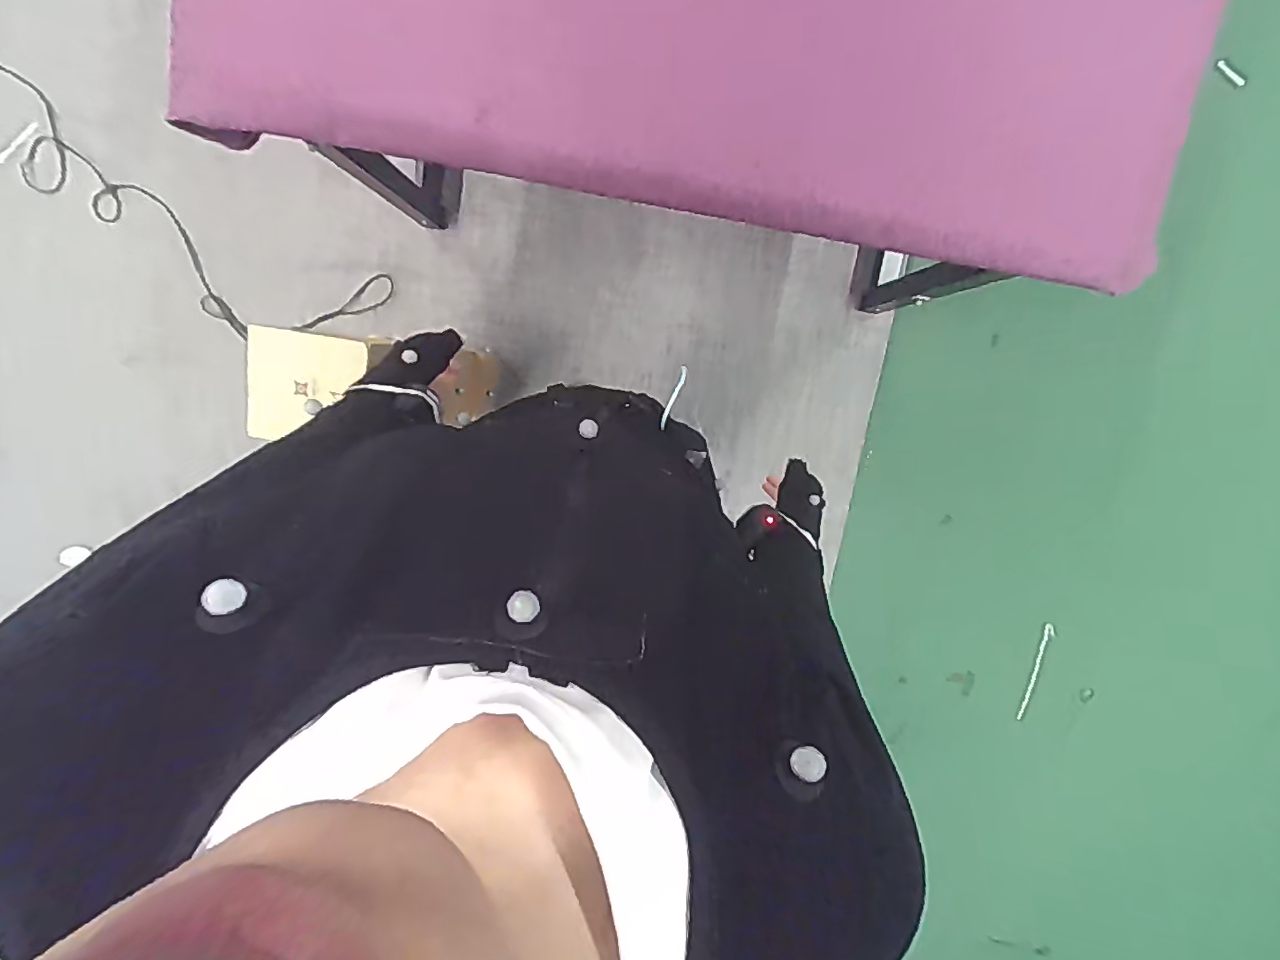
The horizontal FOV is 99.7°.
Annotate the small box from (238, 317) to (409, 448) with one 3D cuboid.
[{"bbox_3d":[-0.496,-0.156,0.864,0.179,0.176,0.168,9,103,-3],"label":"small box"}]

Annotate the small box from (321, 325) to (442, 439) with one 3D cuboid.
[{"bbox_3d":[-0.487,-0.187,1.026,0.168,0.176,0.179,9,103,-3],"label":"small box"}]
